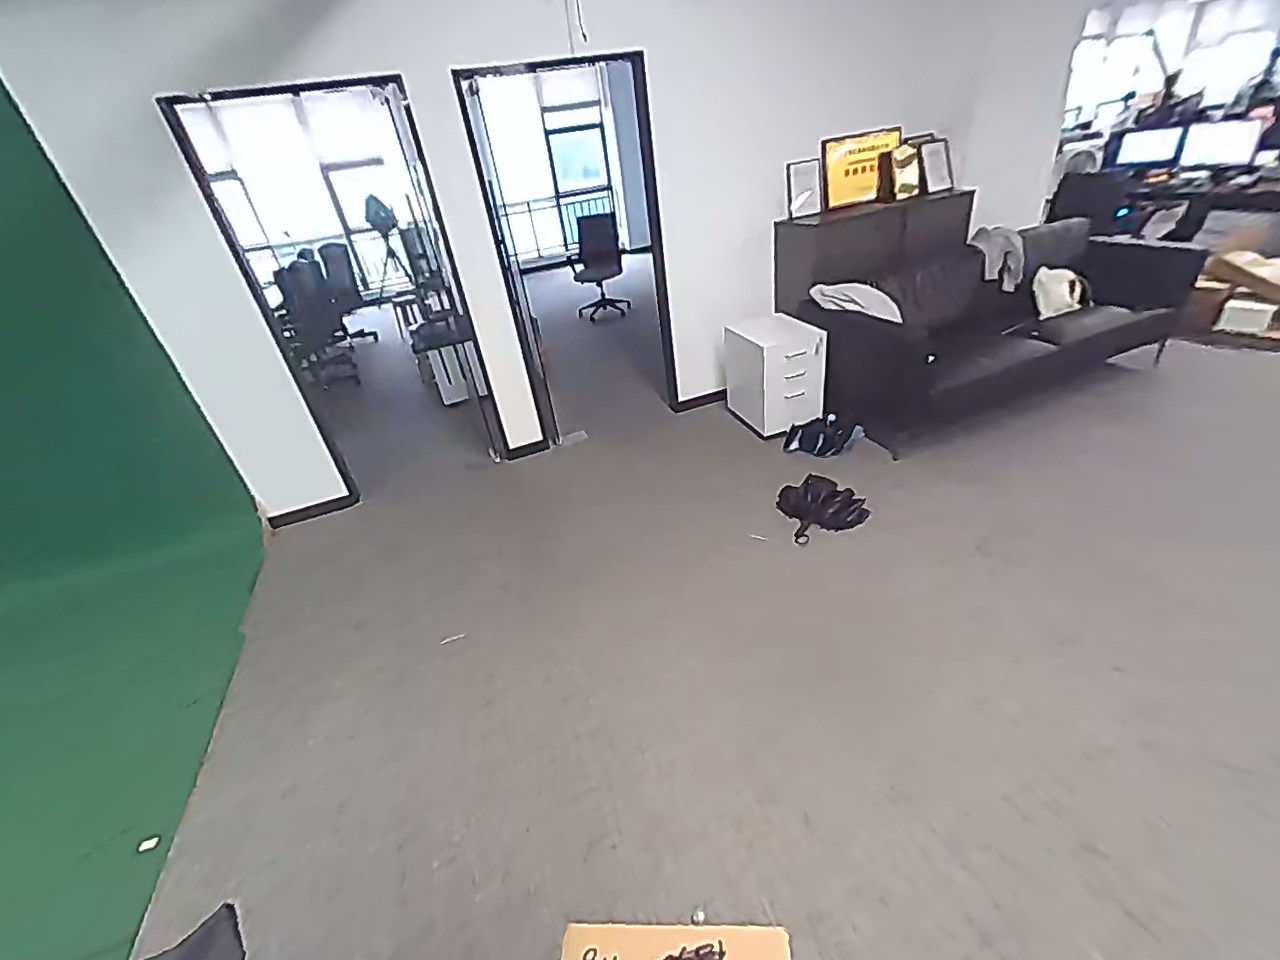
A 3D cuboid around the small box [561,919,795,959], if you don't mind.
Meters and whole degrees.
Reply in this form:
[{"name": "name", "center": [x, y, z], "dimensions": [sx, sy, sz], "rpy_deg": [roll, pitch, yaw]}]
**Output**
[{"name": "small box", "center": [0.030, 0.436, 0.372], "dimensions": [0.168, 0.176, 0.179], "rpy_deg": [-3, 38, 5]}]
